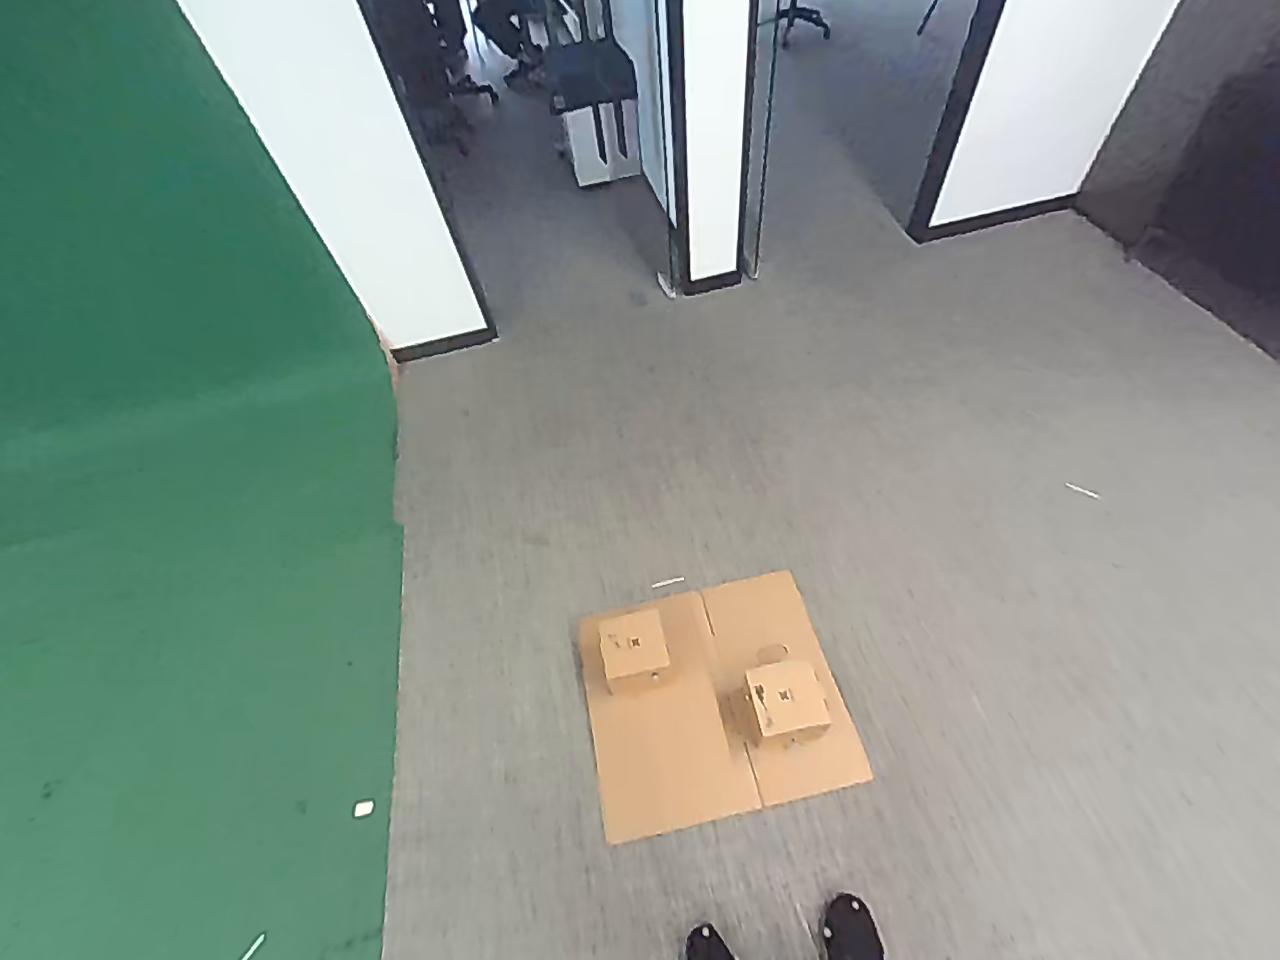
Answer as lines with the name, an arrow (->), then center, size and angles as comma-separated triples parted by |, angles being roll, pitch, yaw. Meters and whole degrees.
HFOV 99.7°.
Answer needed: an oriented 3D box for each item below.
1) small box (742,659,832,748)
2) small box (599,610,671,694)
small box -> 0.375, 0.586, 1.412 | 0.179, 0.176, 0.168 | -10, 53, -1
small box -> -0.011, 0.487, 1.525 | 0.179, 0.176, 0.168 | -12, 53, -1
